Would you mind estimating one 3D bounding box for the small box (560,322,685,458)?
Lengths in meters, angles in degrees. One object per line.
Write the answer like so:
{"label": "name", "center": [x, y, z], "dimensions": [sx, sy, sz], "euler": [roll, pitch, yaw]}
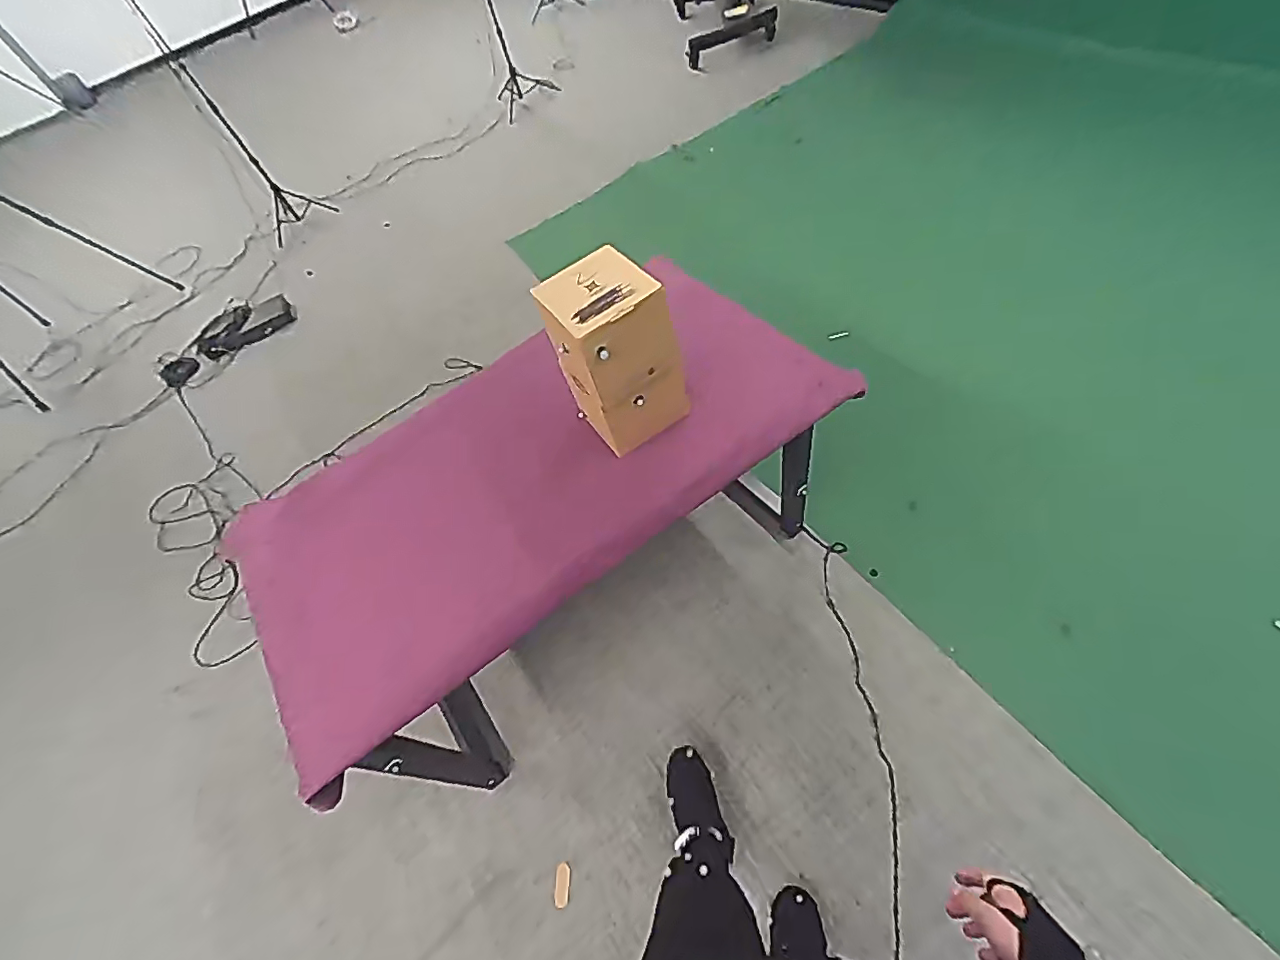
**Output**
{"label": "small box", "center": [-0.028, -0.177, 1.091], "dimensions": [0.179, 0.176, 0.168], "euler": [-34, 56, -10]}
